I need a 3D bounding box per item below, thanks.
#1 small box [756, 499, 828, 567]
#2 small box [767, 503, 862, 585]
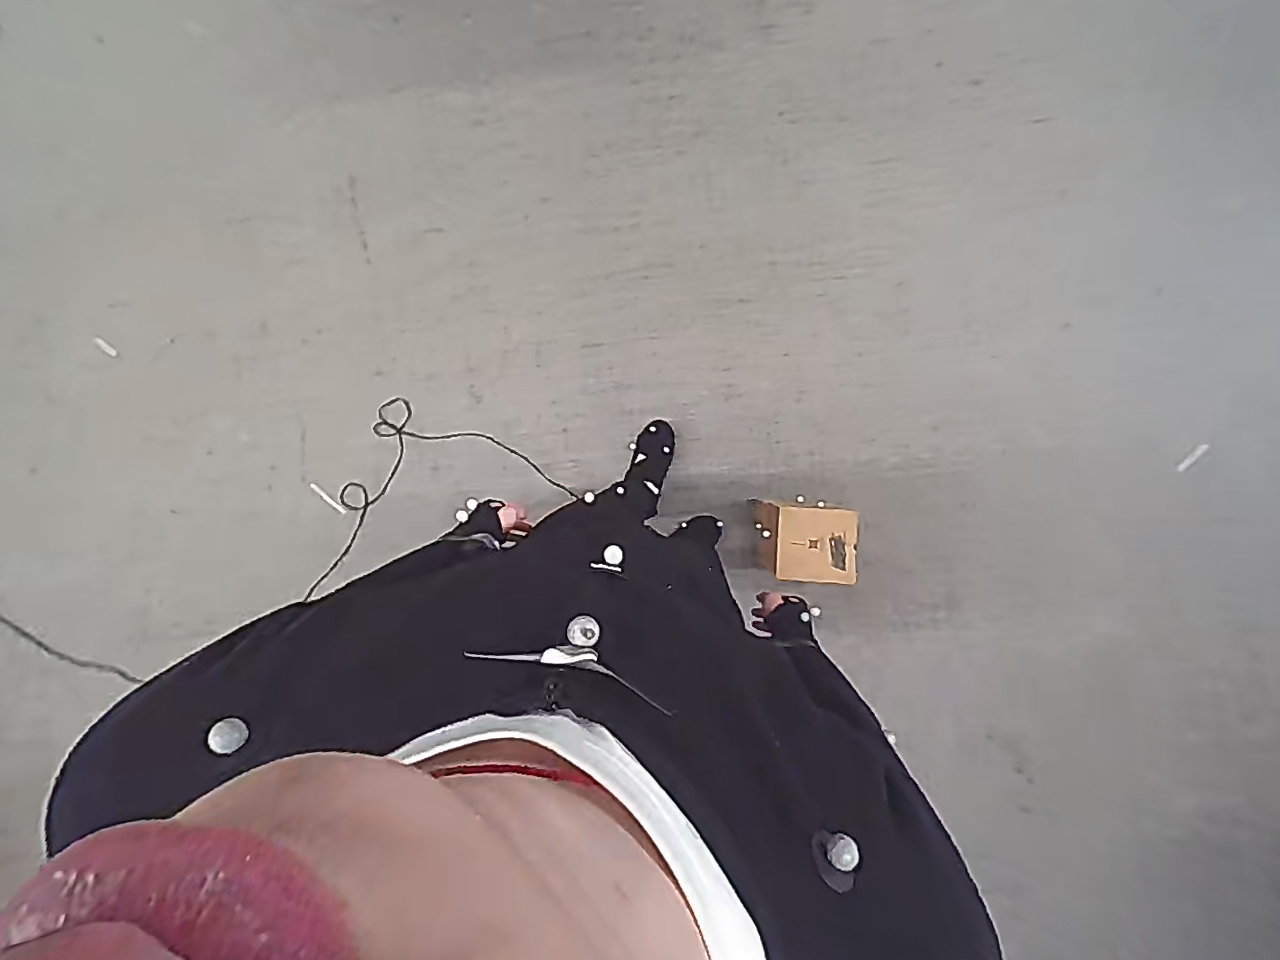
[{"bbox_3d":[0.411,0.140,1.440,0.179,0.176,0.168,2,91,5],"label":"small box"},{"bbox_3d":[0.405,0.144,1.275,0.179,0.176,0.168,3,91,6],"label":"small box"}]
